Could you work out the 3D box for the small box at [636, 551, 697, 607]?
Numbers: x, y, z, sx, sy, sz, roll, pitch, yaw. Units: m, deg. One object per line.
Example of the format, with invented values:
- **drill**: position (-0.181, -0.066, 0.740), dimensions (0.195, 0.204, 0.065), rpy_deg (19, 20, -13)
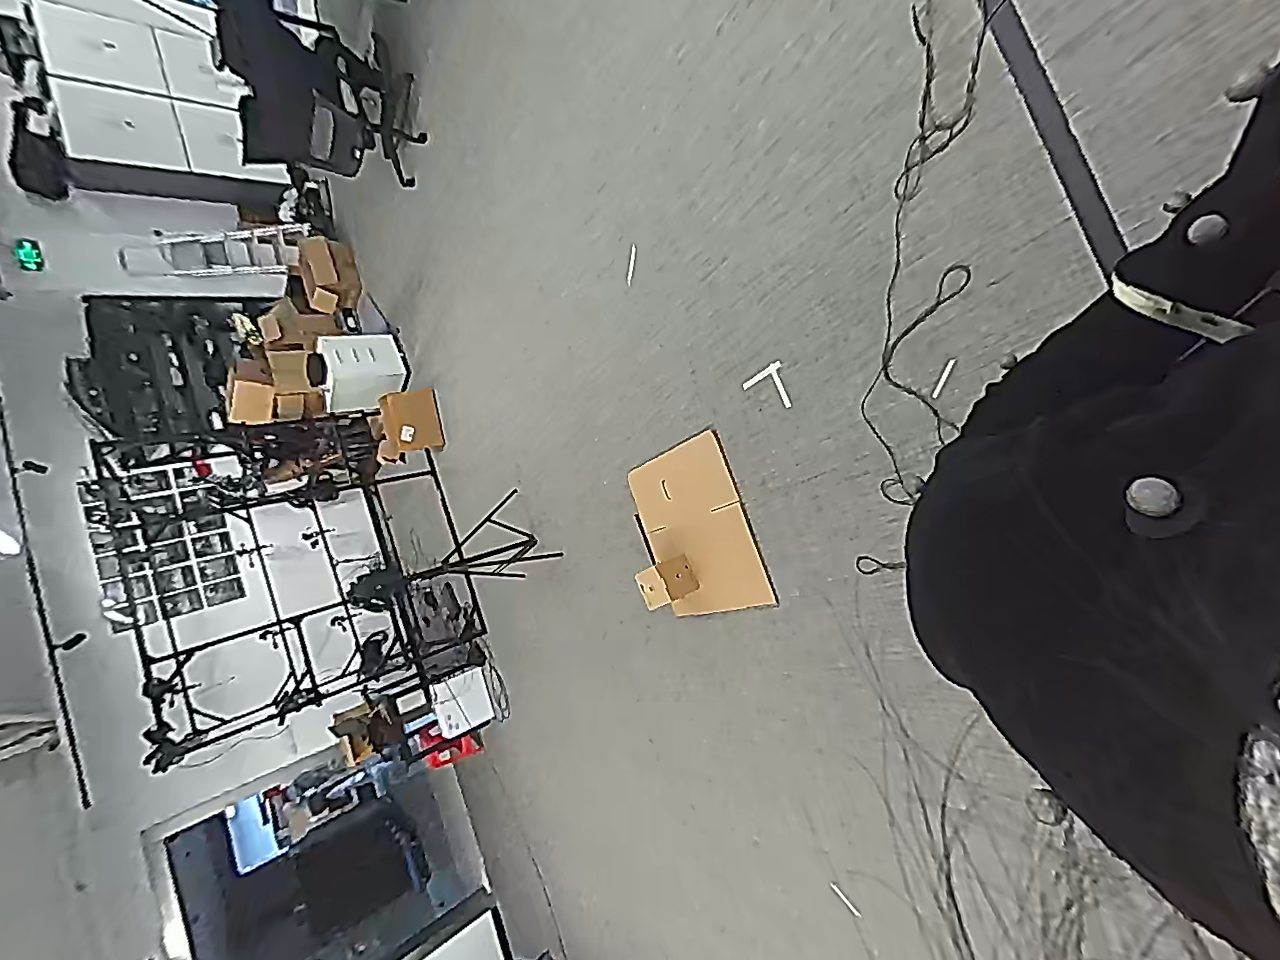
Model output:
- **small box**: position (0.119, 0.421, 2.307), dimensions (0.179, 0.176, 0.168), rpy_deg (-38, 73, 49)
